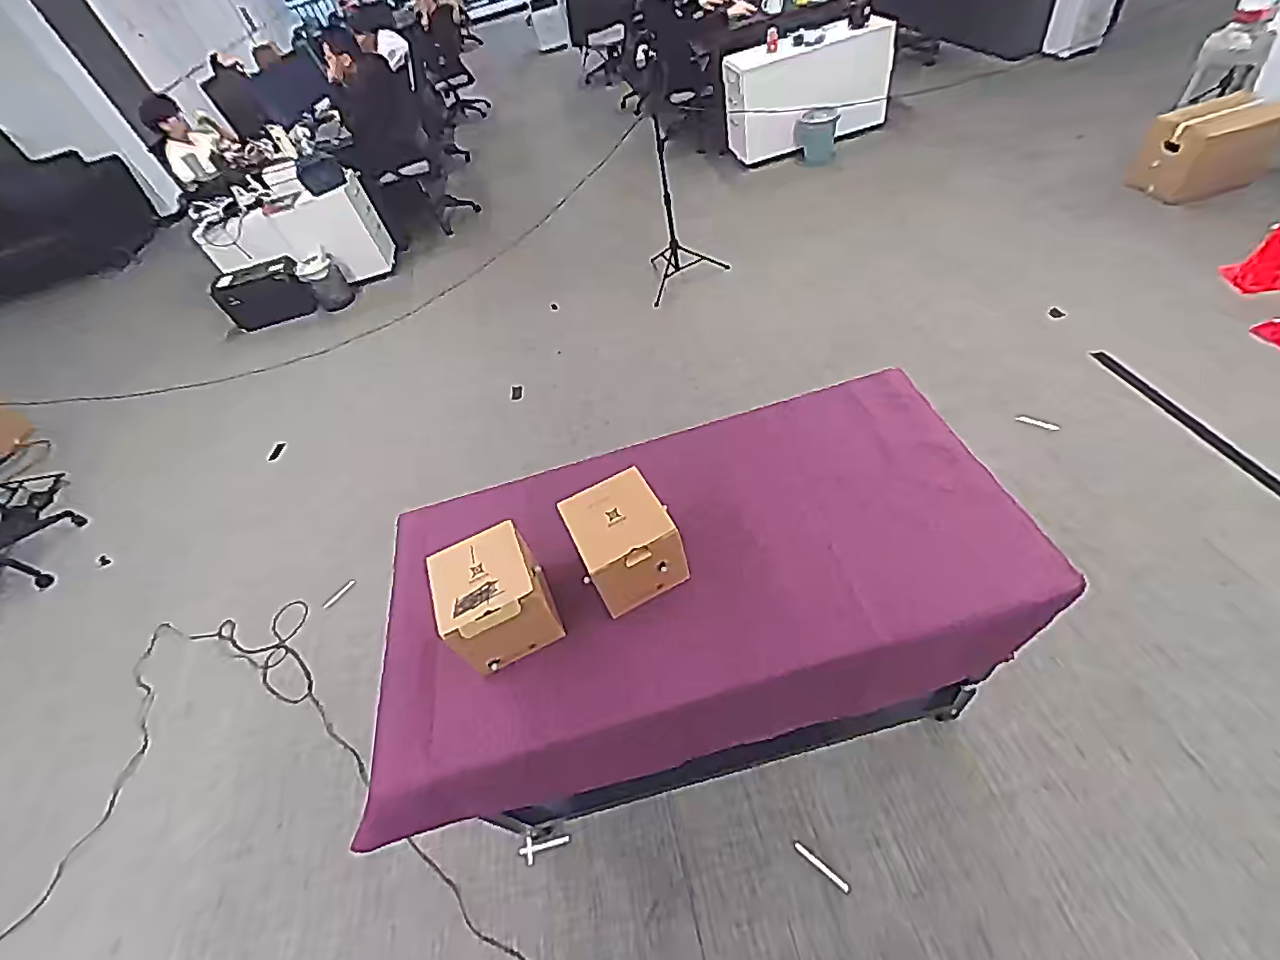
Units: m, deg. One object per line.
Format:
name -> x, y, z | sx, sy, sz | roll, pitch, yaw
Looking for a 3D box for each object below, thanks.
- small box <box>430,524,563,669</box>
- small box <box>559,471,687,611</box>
small box -> -0.257, 0.220, 0.986 | 0.168, 0.176, 0.179 | -25, 48, -7
small box -> -0.027, 0.122, 1.011 | 0.168, 0.176, 0.179 | -26, 48, -8
